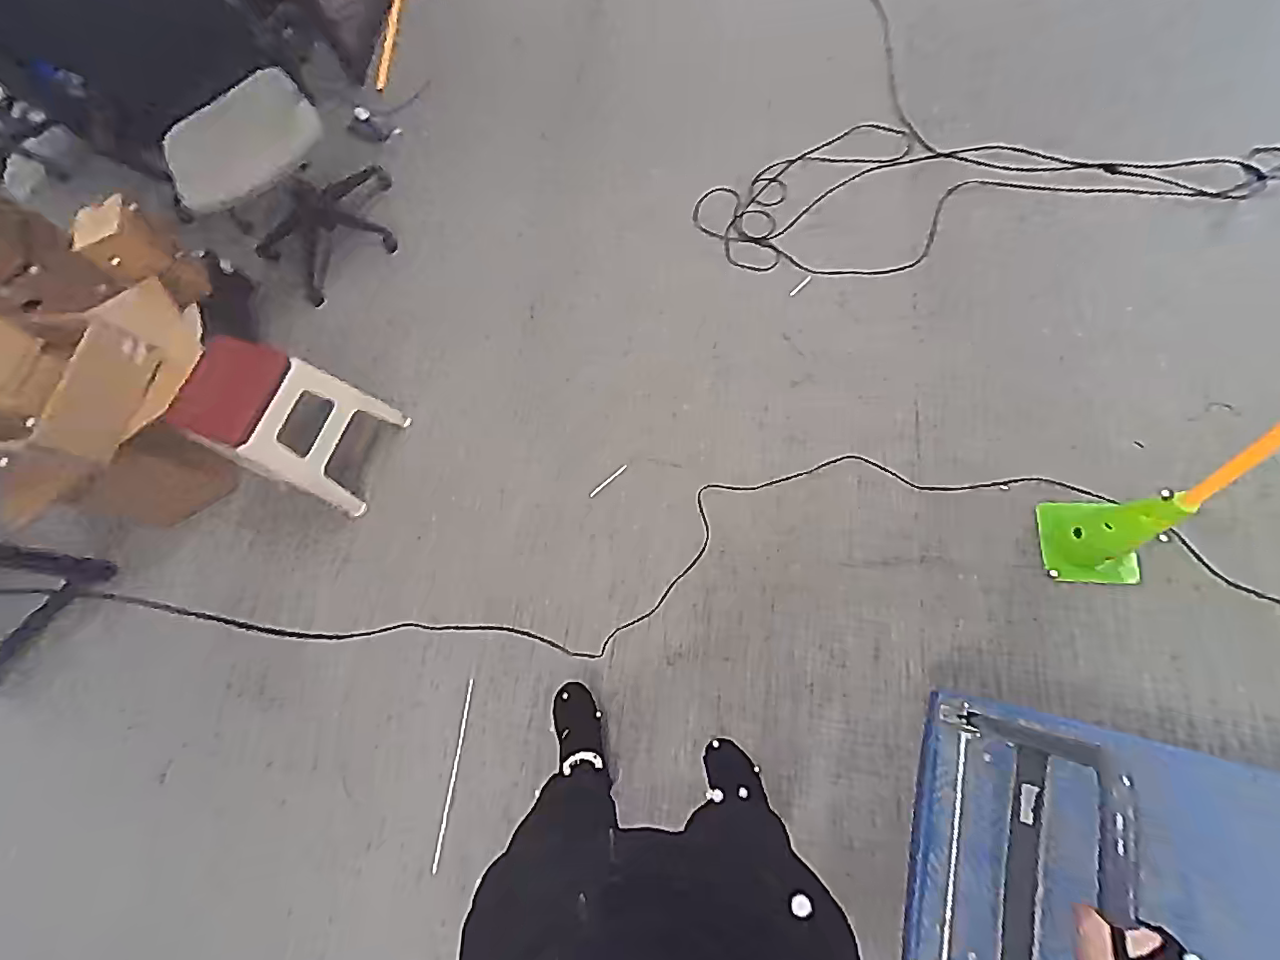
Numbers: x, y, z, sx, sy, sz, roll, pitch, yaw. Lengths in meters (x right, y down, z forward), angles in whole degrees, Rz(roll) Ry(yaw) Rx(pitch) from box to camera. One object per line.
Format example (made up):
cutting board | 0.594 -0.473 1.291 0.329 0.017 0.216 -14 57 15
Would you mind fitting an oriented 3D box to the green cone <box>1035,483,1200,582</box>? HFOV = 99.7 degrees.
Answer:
green cone | 1.063 0.090 1.170 0.200 0.368 0.202 0 70 12
